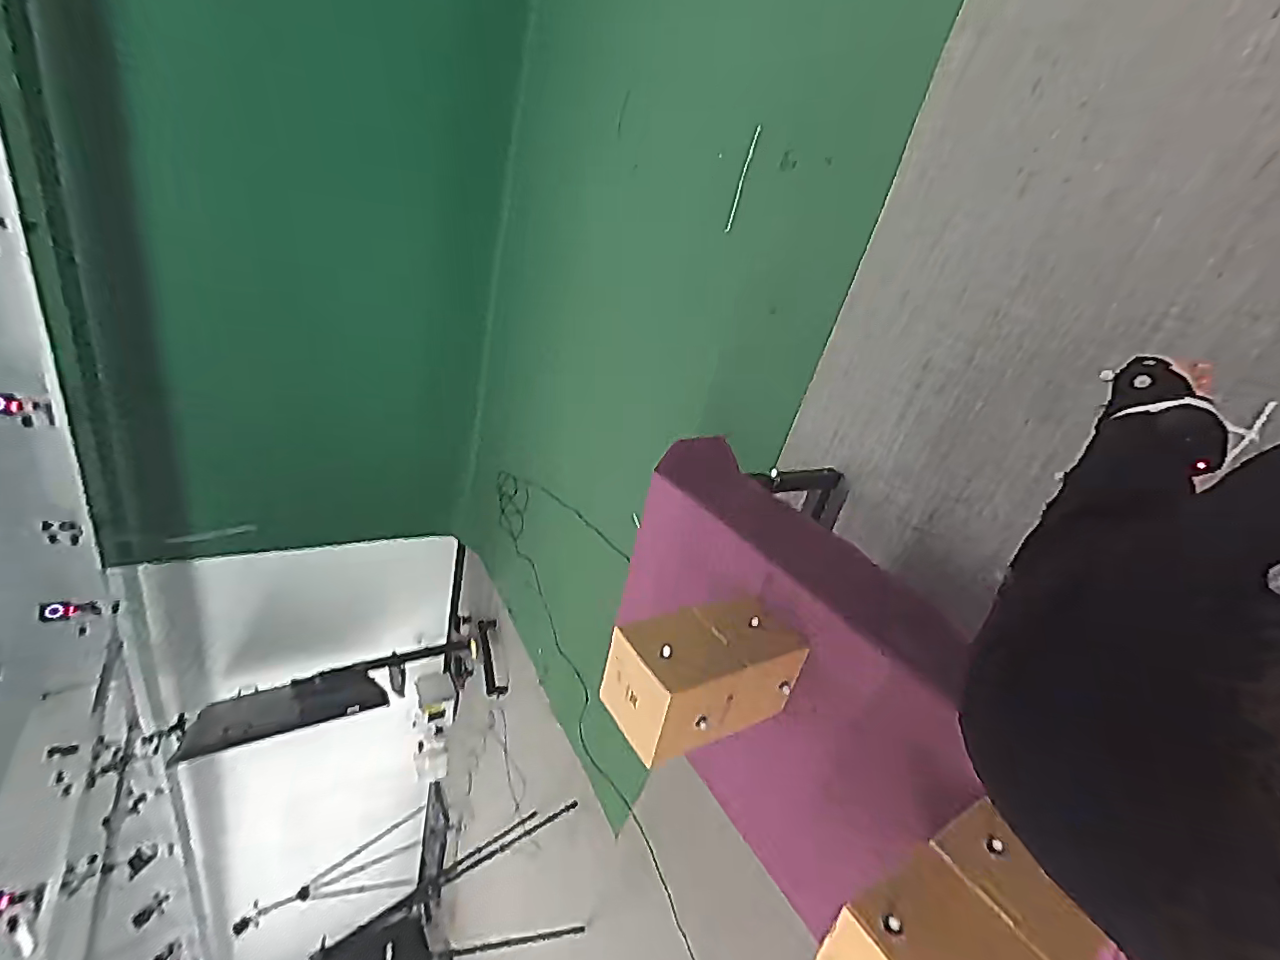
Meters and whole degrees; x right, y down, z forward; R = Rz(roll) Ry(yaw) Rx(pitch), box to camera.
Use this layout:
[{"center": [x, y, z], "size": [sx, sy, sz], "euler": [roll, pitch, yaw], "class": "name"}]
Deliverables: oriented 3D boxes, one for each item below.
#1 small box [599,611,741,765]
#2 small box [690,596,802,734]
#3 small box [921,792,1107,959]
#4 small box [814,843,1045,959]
[{"center": [0.052, 0.356, 0.963], "size": [0.179, 0.176, 0.168], "euler": [39, 124, 46], "class": "small box"}, {"center": [0.188, 0.349, 1.058], "size": [0.168, 0.176, 0.179], "euler": [40, 124, 46], "class": "small box"}, {"center": [0.455, 0.551, 0.699], "size": [0.168, 0.176, 0.179], "euler": [39, 125, 47], "class": "small box"}, {"center": [0.324, 0.562, 0.604], "size": [0.179, 0.176, 0.168], "euler": [37, 122, 49], "class": "small box"}]
